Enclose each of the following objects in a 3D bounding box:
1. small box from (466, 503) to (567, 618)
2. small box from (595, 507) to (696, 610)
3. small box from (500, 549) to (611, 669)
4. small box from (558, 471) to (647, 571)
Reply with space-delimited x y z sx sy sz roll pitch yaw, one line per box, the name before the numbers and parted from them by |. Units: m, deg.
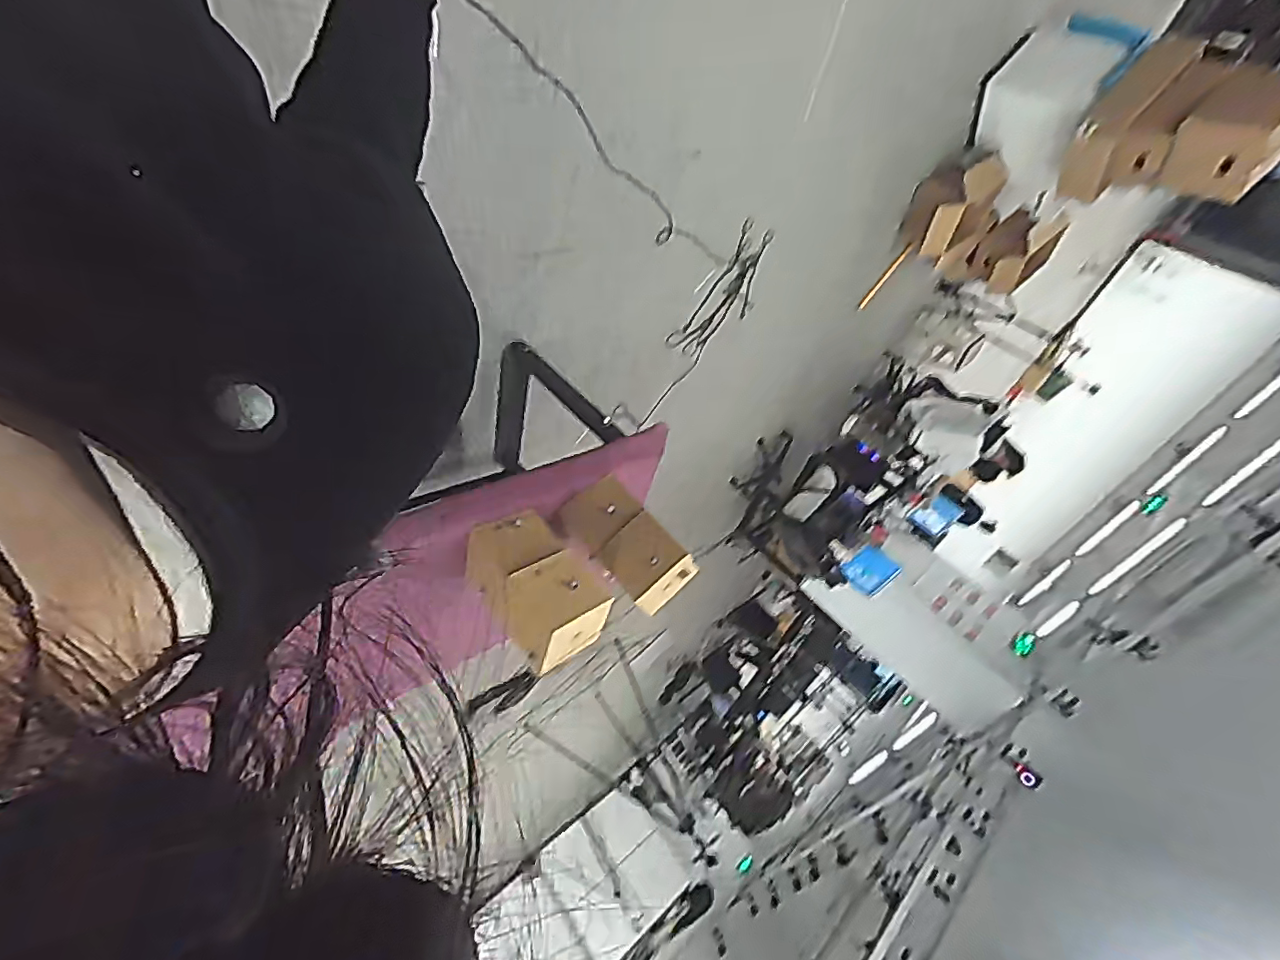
small box | -0.300 0.187 1.289 0.168 0.176 0.179 -22 145 -40
small box | 0.015 0.198 1.379 0.179 0.176 0.168 -41 152 -6
small box | -0.193 0.275 1.204 0.168 0.176 0.179 -23 147 -39
small box | -0.095 0.108 1.464 0.179 0.176 0.168 -37 151 -17
